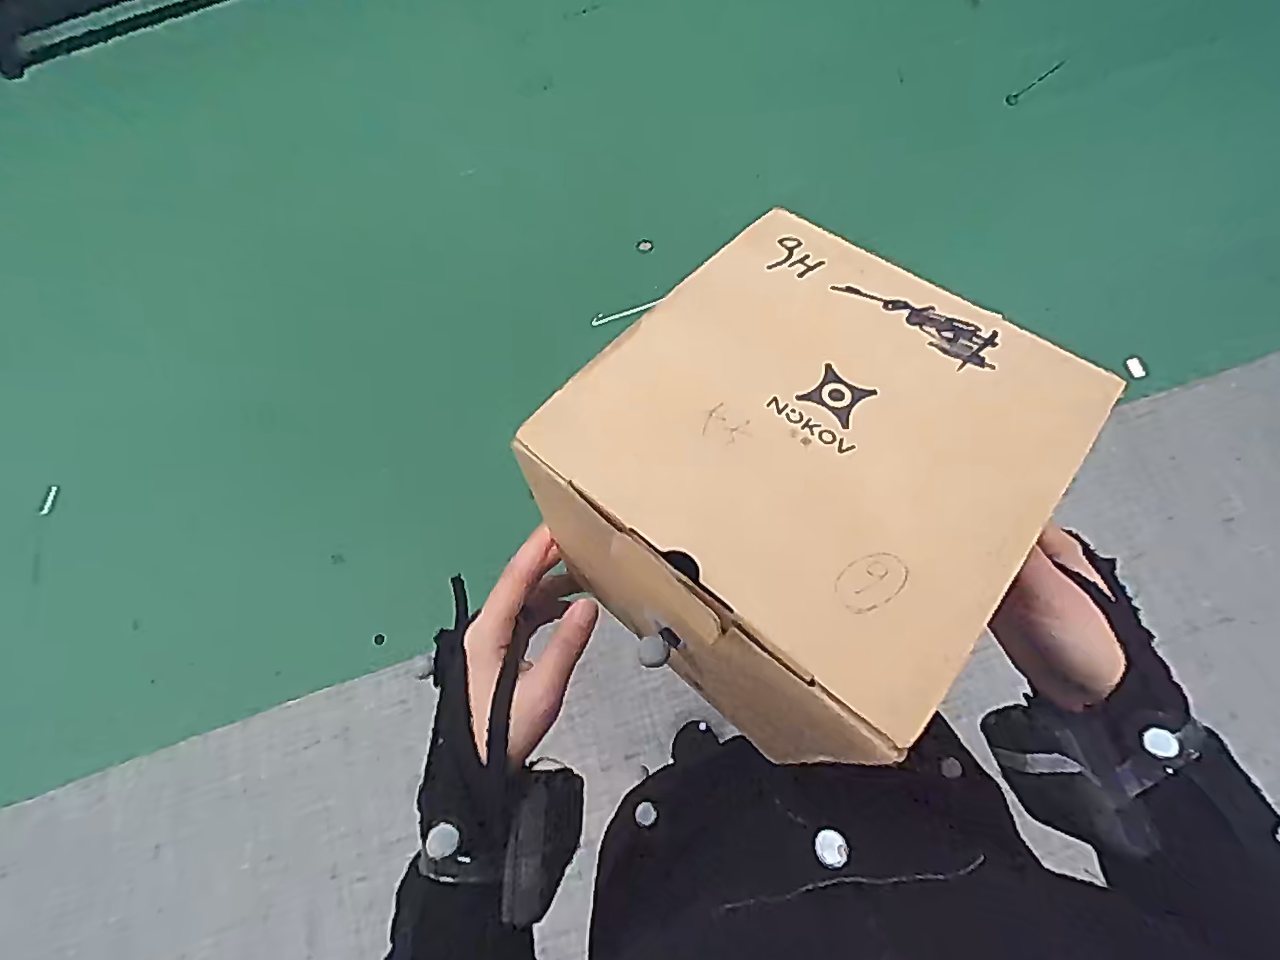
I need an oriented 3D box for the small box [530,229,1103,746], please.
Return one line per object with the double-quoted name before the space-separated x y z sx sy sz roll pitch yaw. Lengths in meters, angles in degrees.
"small box" 0.074 0.015 0.288 0.168 0.176 0.179 38 70 18
